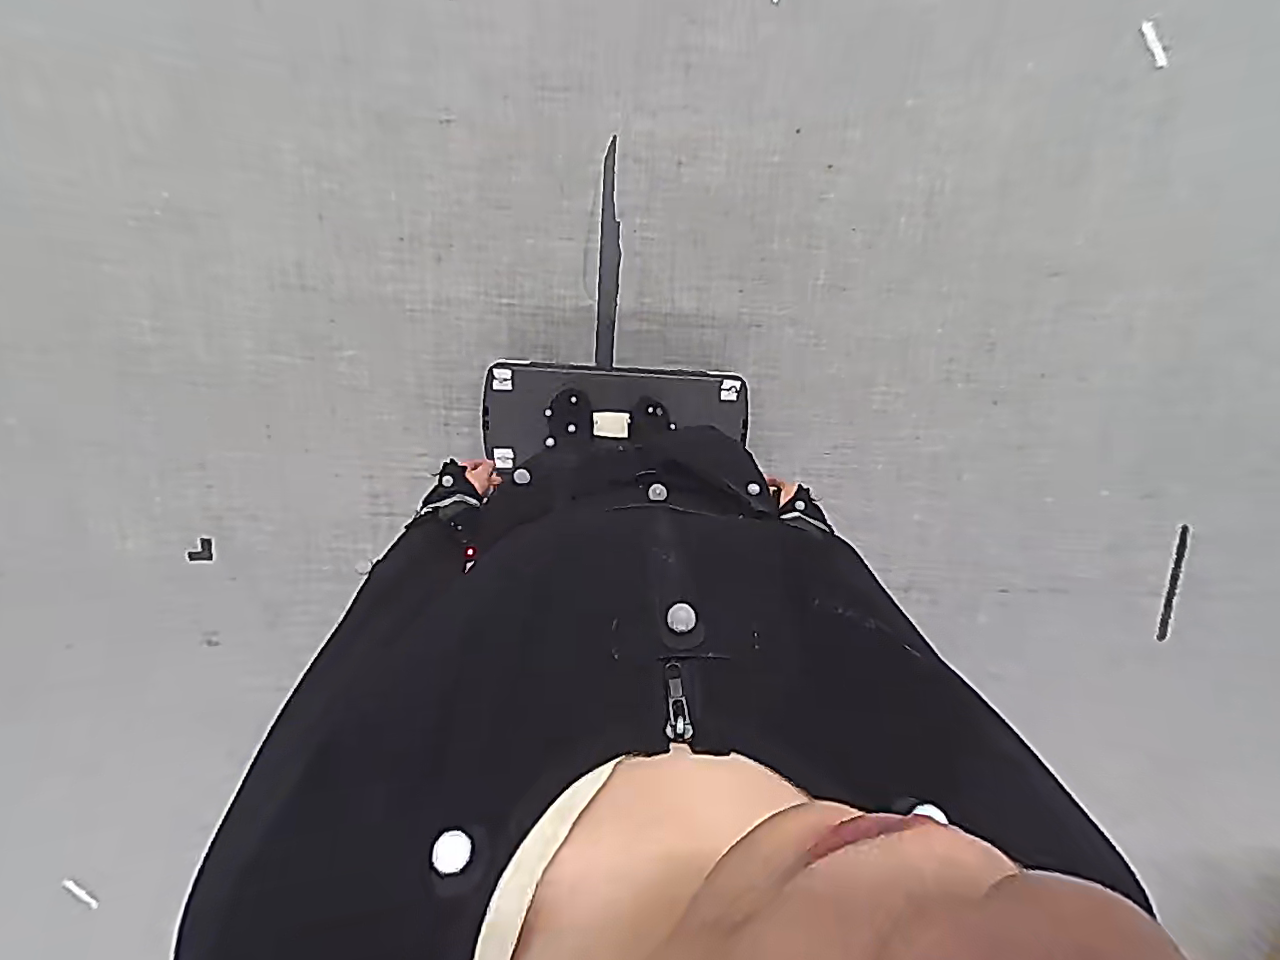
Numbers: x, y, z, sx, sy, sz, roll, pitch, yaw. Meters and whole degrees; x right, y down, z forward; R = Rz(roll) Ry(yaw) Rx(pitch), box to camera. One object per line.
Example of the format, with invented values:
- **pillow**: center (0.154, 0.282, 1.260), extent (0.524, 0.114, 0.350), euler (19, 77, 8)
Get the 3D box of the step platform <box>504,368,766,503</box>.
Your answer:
- **step platform**: center (-0.015, -0.119, 1.447), extent (0.684, 0.204, 0.286), euler (6, 99, -5)
